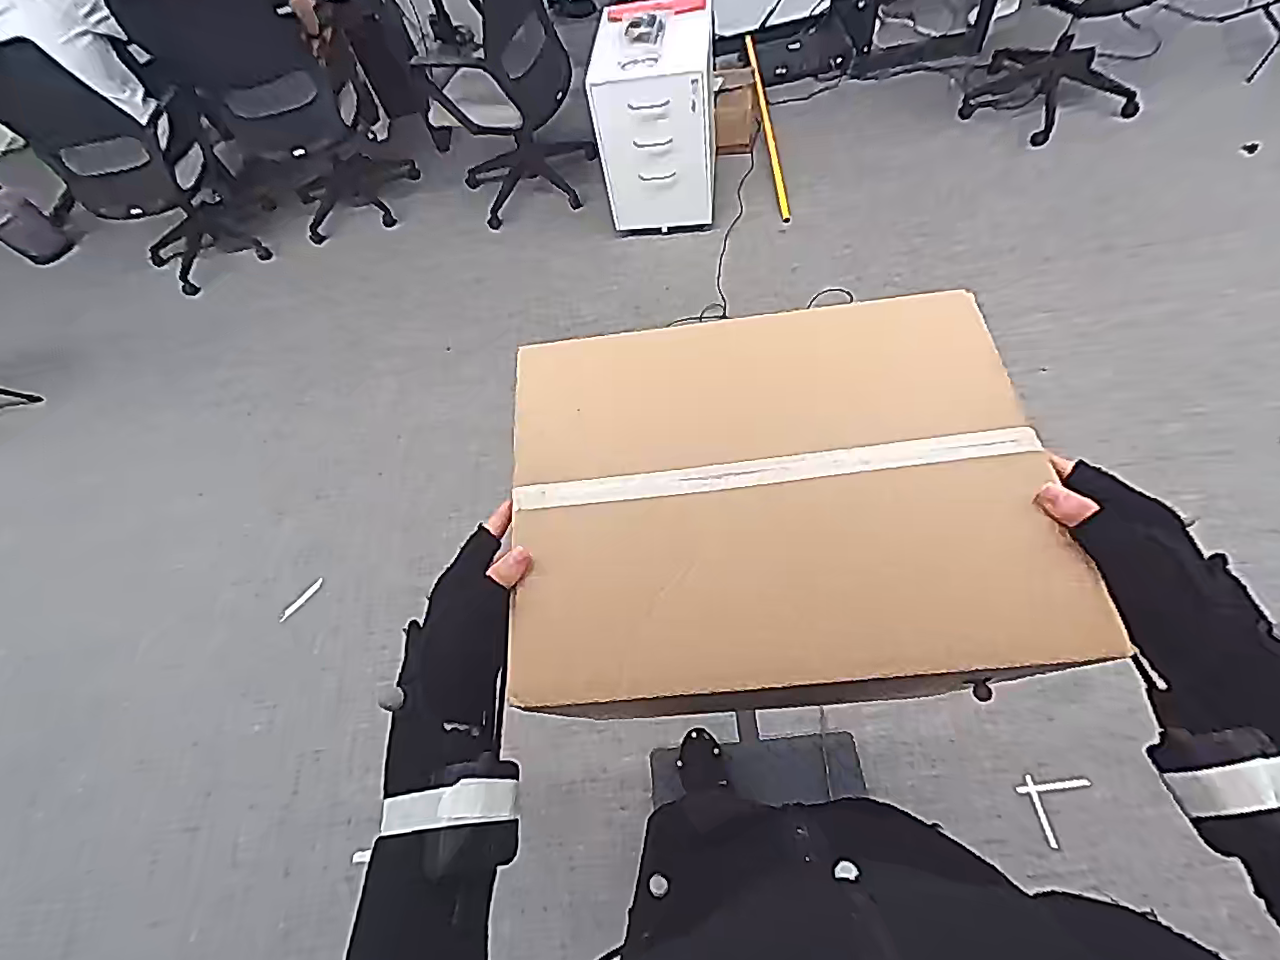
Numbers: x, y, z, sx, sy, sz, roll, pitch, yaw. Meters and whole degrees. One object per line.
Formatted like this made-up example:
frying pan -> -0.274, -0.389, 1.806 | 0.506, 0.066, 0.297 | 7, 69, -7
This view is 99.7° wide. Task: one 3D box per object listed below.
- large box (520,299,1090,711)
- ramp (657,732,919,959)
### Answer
large box -> 0.116, 0.059, 0.573 | 0.408, 0.320, 0.320 | -7, 64, 4
ramp -> 0.303, 1.029, 1.015 | 0.509, 0.206, 0.991 | -10, 60, 5
